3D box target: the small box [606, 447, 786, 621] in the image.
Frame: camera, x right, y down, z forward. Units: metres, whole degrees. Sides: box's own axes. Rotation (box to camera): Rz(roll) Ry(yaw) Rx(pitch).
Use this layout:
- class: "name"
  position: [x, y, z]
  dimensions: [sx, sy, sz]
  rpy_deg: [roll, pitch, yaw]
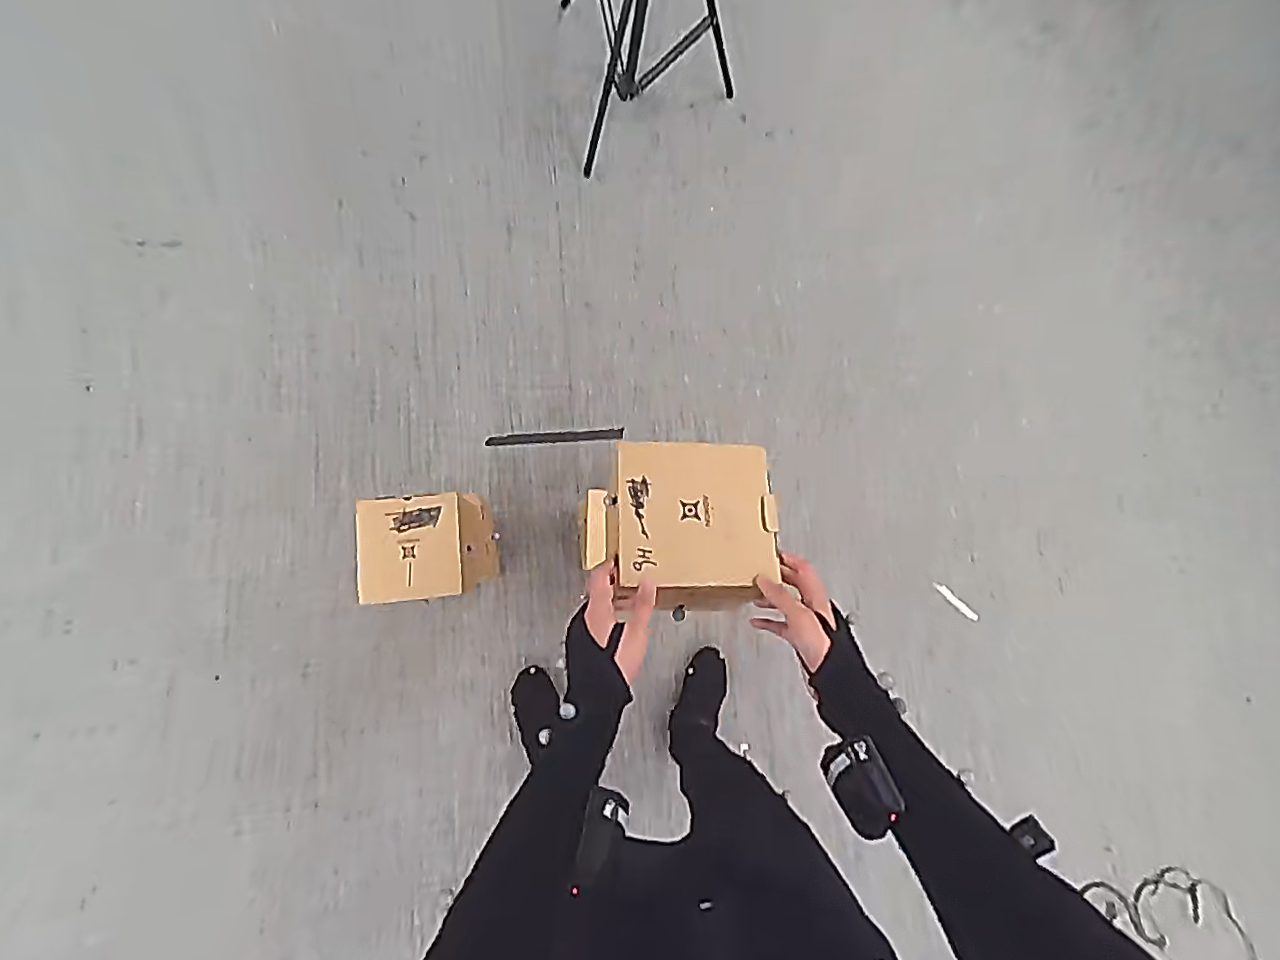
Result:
- class: "small box"
  position: [0.055, 0.074, 0.654]
  dimensions: [0.179, 0.176, 0.168]
  rpy_deg: [2, 67, -8]

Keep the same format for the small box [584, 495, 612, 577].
- class: "small box"
  position: [-0.033, 0.131, 1.205]
  dimensions: [0.179, 0.176, 0.168]
  rpy_deg: [2, 79, -9]

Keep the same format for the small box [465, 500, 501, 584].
- class: "small box"
  position: [-0.400, 0.145, 1.142]
  dimensions: [0.179, 0.176, 0.168]
  rpy_deg: [-8, 81, -10]

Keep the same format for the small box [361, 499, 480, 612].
- class: "small box"
  position: [-0.388, 0.138, 0.976]
  dimensions: [0.168, 0.176, 0.179]
  rpy_deg: [-5, 81, -8]
